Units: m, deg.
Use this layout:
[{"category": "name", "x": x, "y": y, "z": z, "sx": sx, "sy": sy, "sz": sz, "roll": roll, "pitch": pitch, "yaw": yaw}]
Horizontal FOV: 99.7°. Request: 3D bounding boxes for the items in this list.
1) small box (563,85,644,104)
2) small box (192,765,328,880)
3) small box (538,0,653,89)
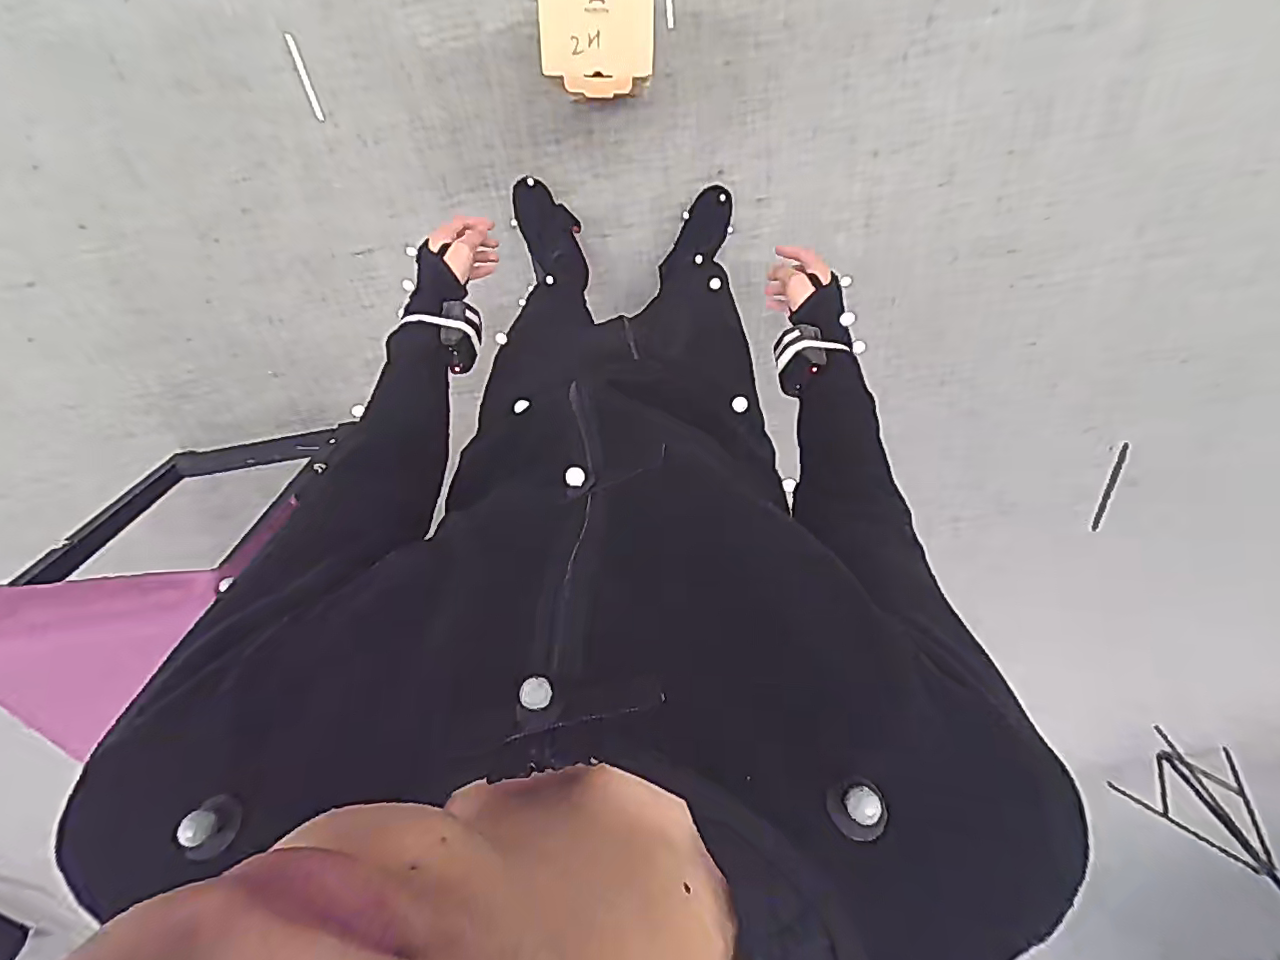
[{"category": "small box", "x": -0.080, "y": -0.888, "z": 1.114, "sx": 0.168, "sy": 0.176, "sz": 0.179, "roll": -6, "pitch": 123, "yaw": -1}, {"category": "small box", "x": -0.898, "y": 0.821, "z": 1.301, "sx": 0.168, "sy": 0.176, "sz": 0.179, "roll": -18, "pitch": 122, "yaw": 7}, {"category": "small box", "x": -0.070, "y": -0.717, "z": 0.831, "sx": 0.168, "sy": 0.176, "sz": 0.179, "roll": -1, "pitch": 123, "yaw": -4}]
